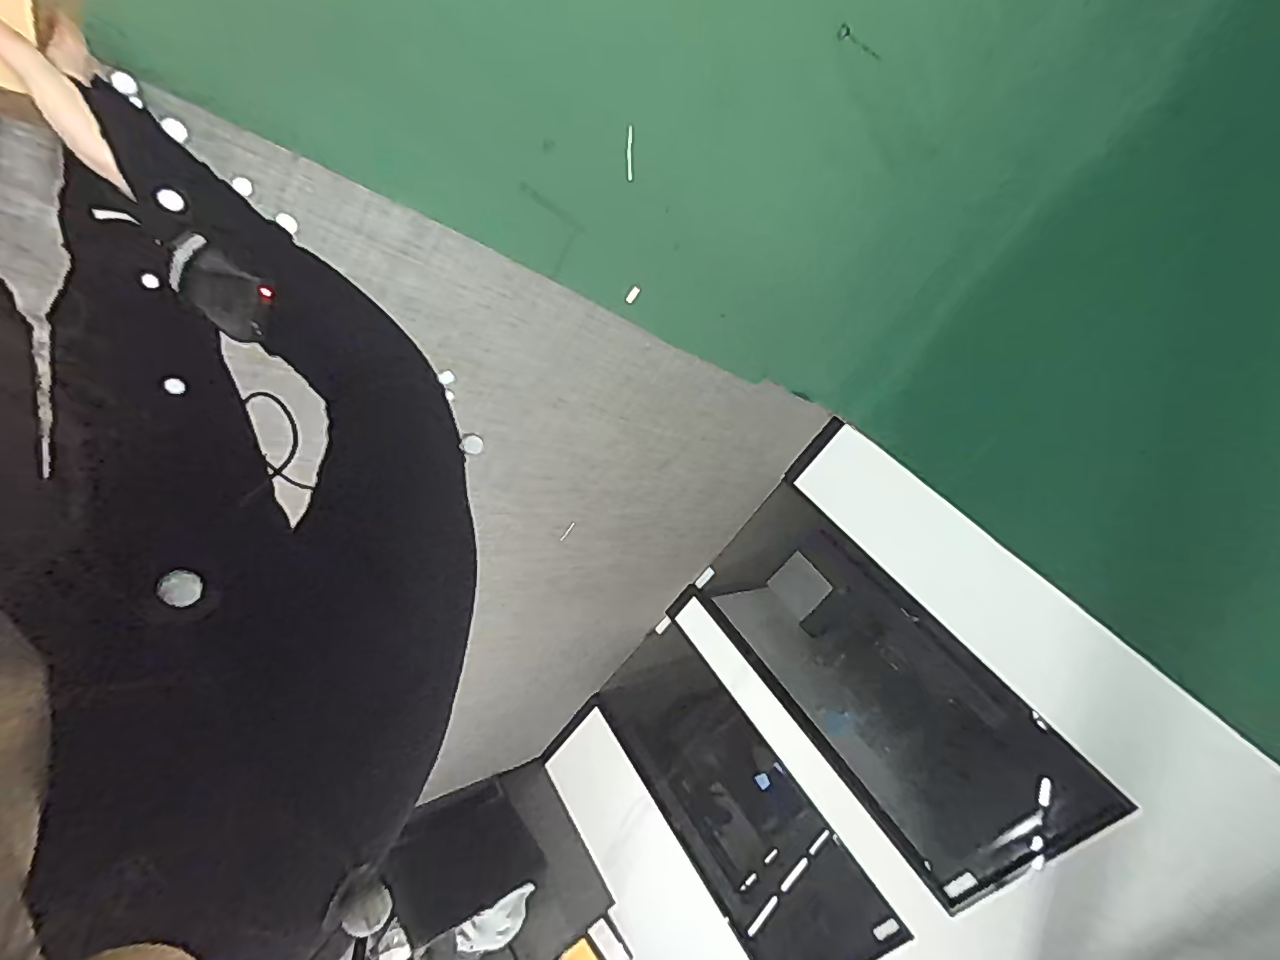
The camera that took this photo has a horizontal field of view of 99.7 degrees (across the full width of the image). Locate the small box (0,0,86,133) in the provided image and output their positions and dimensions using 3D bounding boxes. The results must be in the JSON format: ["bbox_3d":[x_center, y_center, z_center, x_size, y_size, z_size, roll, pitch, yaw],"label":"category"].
[{"bbox_3d":[-0.492,-0.354,0.348,0.168,0.176,0.179,-1,109,-37],"label":"small box"}]
